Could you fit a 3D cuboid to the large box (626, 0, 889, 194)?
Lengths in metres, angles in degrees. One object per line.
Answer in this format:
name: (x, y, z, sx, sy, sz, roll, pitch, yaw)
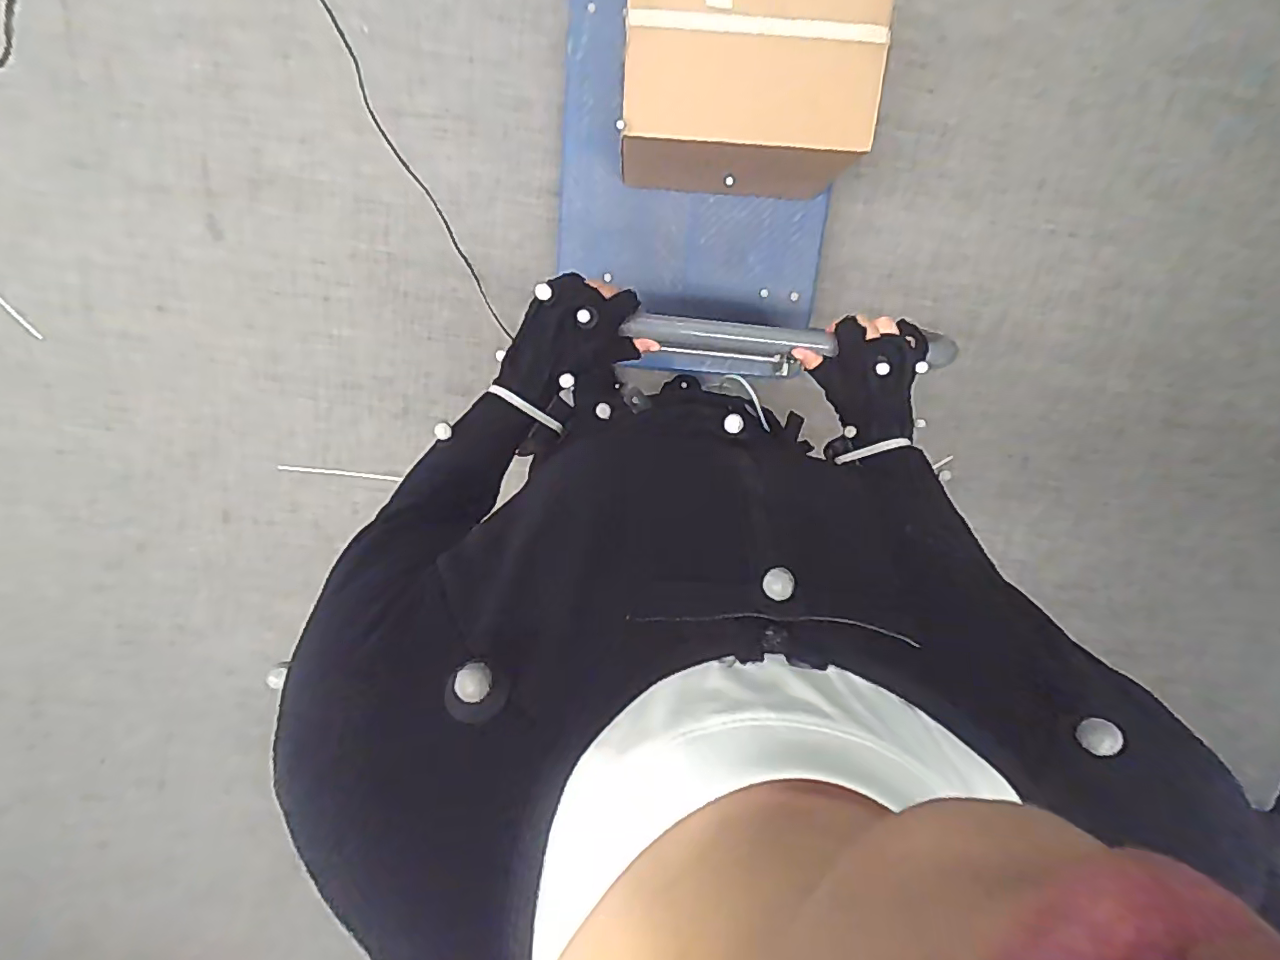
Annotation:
large box: (0.182, -0.727, 0.980, 0.408, 0.320, 0.320, 2, 104, -1)
